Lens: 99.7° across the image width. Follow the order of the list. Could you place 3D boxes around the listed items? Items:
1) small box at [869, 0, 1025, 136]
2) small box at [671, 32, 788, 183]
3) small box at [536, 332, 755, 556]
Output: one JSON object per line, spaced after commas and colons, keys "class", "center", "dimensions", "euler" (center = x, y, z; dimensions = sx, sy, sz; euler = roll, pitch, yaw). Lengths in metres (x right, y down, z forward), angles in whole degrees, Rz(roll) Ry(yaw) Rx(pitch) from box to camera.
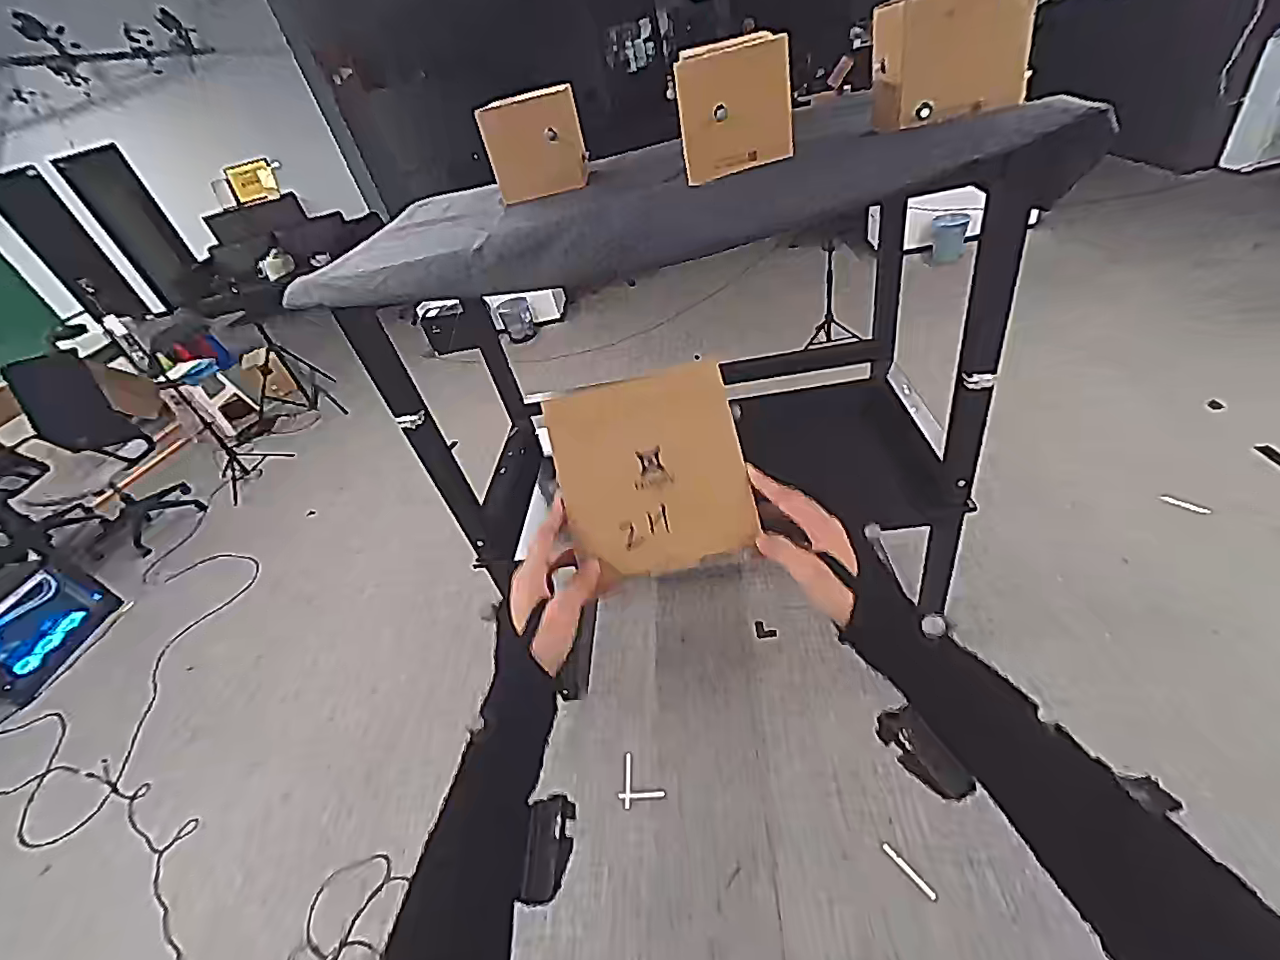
{"class": "small box", "center": [0.453, -0.637, 0.818], "dimensions": [0.168, 0.176, 0.179], "euler": [-7, 35, 12]}
{"class": "small box", "center": [0.146, -0.608, 0.893], "dimensions": [0.168, 0.176, 0.179], "euler": [-8, 36, 9]}
{"class": "small box", "center": [0.002, -0.026, 0.555], "dimensions": [0.168, 0.179, 0.176], "euler": [-13, -5, -1]}
